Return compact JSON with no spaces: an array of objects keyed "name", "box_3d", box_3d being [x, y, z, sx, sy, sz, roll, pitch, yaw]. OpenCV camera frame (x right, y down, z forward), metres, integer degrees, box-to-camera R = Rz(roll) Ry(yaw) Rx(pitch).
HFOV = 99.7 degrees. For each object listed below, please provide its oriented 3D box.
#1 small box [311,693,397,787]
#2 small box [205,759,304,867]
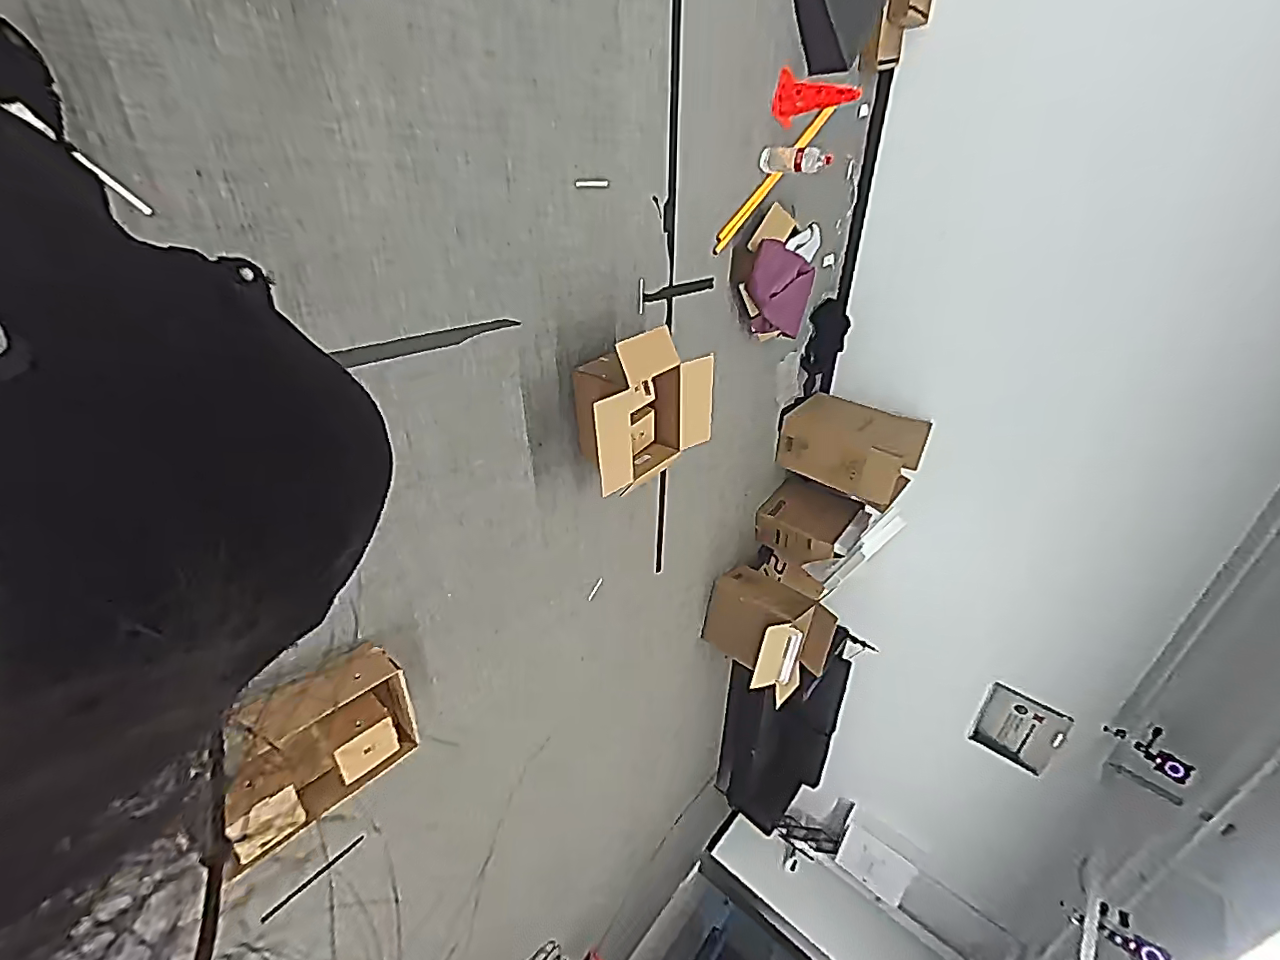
[{"name":"small box","box_3d":[-0.917,0.826,1.737,0.179,0.176,0.168,-27,128,-41]},{"name":"small box","box_3d":[-1.106,0.941,1.550,0.168,0.176,0.179,-27,128,-44]}]
